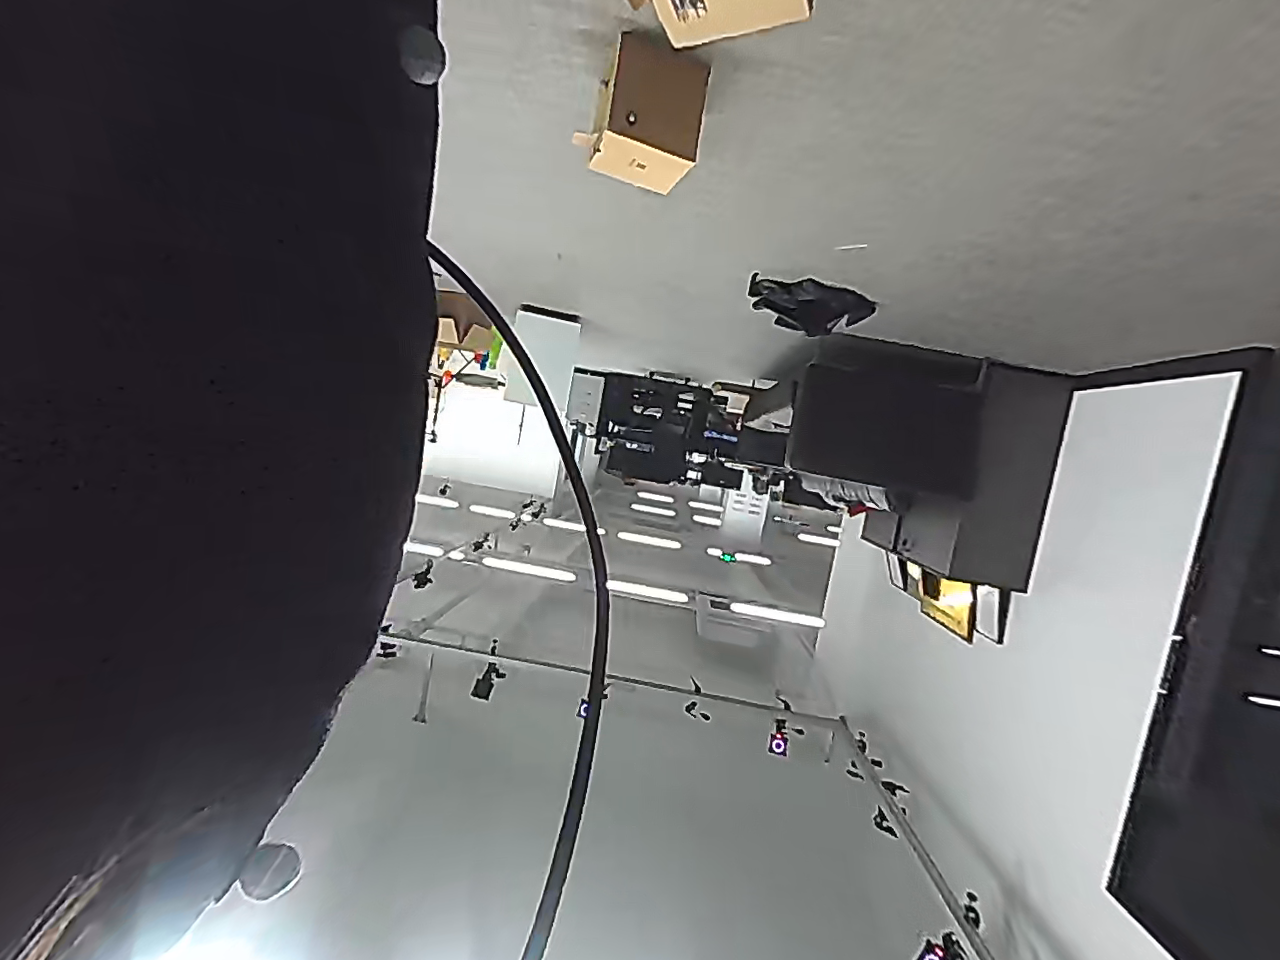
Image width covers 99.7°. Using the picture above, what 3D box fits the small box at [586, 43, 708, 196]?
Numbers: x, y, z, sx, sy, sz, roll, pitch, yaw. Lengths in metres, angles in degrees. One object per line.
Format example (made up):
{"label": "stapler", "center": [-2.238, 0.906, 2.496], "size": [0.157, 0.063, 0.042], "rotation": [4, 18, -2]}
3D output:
{"label": "small box", "center": [0.012, -0.678, 1.031], "size": [0.179, 0.176, 0.168], "rotation": [9, -175, -19]}
